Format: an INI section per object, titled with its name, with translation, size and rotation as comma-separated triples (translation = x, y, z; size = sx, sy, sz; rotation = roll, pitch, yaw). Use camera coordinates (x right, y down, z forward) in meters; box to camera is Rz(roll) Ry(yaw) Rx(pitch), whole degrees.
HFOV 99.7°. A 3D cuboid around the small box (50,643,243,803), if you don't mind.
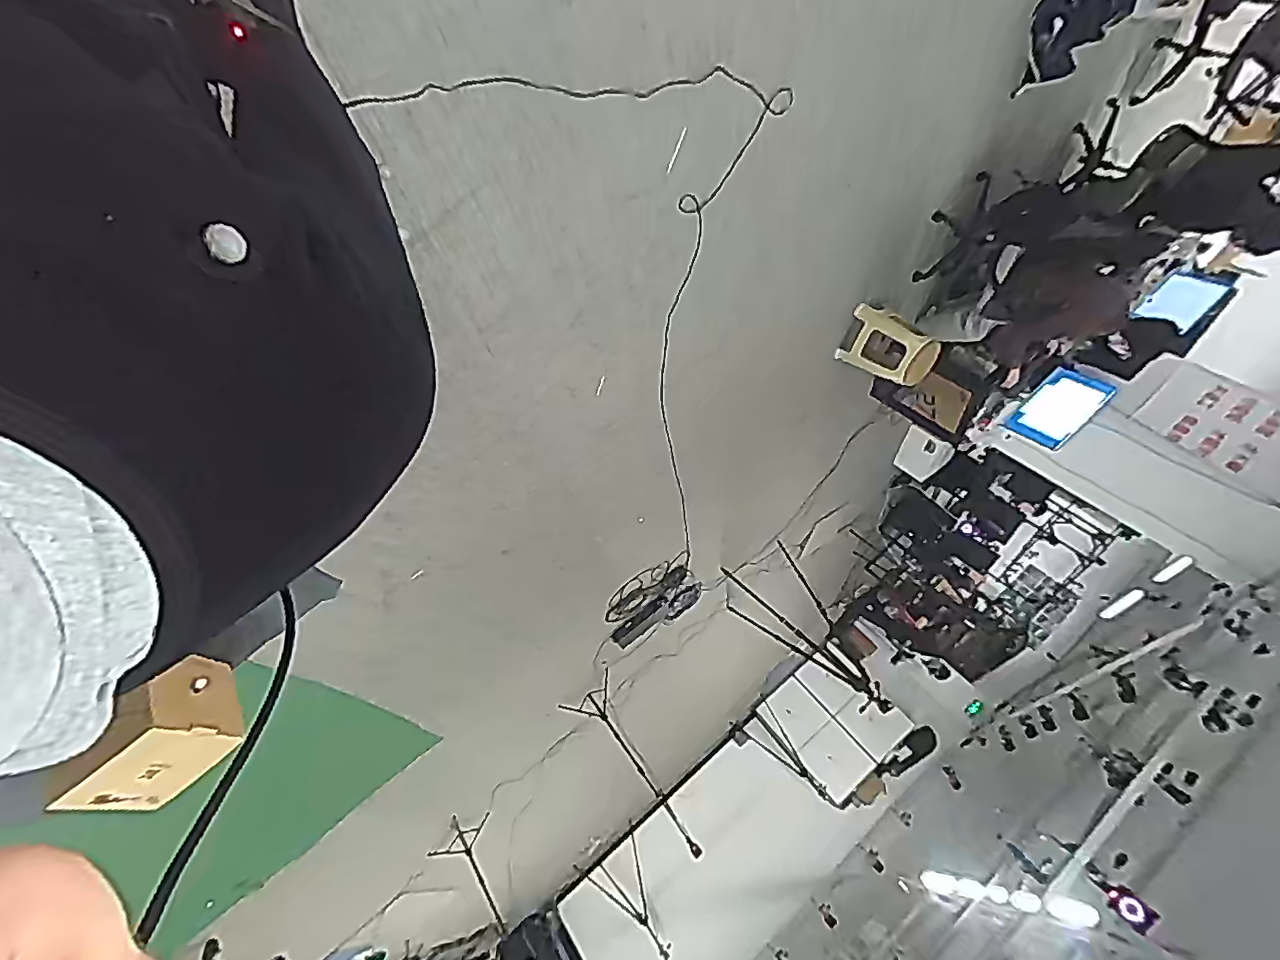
[small box]
translation = -0.824, 0.402, 0.903
size = 0.179, 0.176, 0.168
rotation = -41, 148, -10
